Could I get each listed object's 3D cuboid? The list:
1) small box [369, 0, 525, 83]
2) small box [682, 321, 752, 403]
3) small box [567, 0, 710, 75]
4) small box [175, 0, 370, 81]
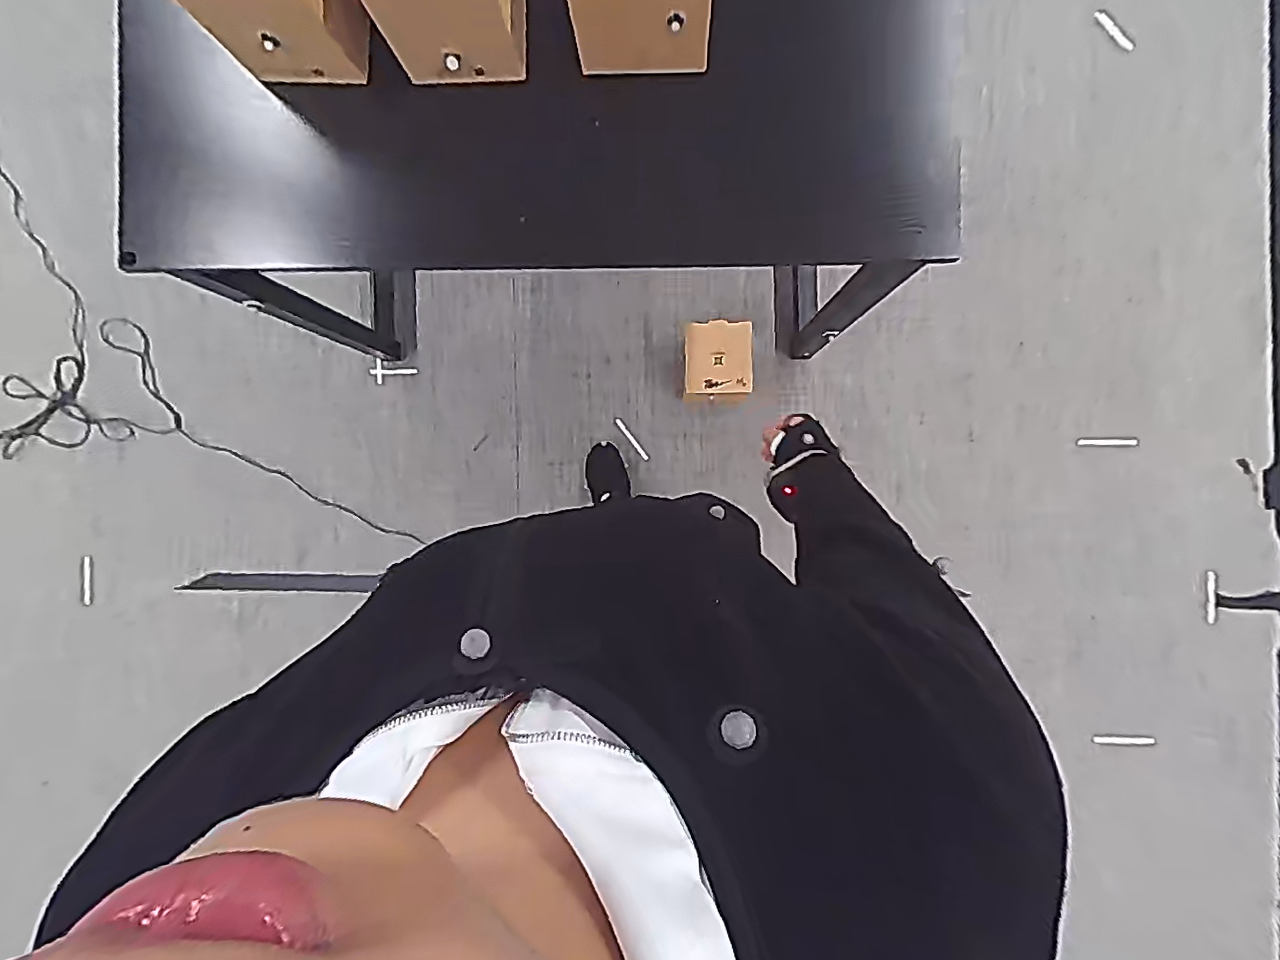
[{"bbox_3d":[-0.248,-0.653,0.690,0.168,0.176,0.179,0,91,2],"label":"small box"},{"bbox_3d":[0.195,-0.300,1.403,0.168,0.176,0.179,-1,90,3],"label":"small box"},{"bbox_3d":[0.001,-0.653,0.682,0.179,0.176,0.168,0,89,4],"label":"small box"},{"bbox_3d":[-0.472,-0.658,0.699,0.168,0.176,0.179,3,90,1],"label":"small box"}]
